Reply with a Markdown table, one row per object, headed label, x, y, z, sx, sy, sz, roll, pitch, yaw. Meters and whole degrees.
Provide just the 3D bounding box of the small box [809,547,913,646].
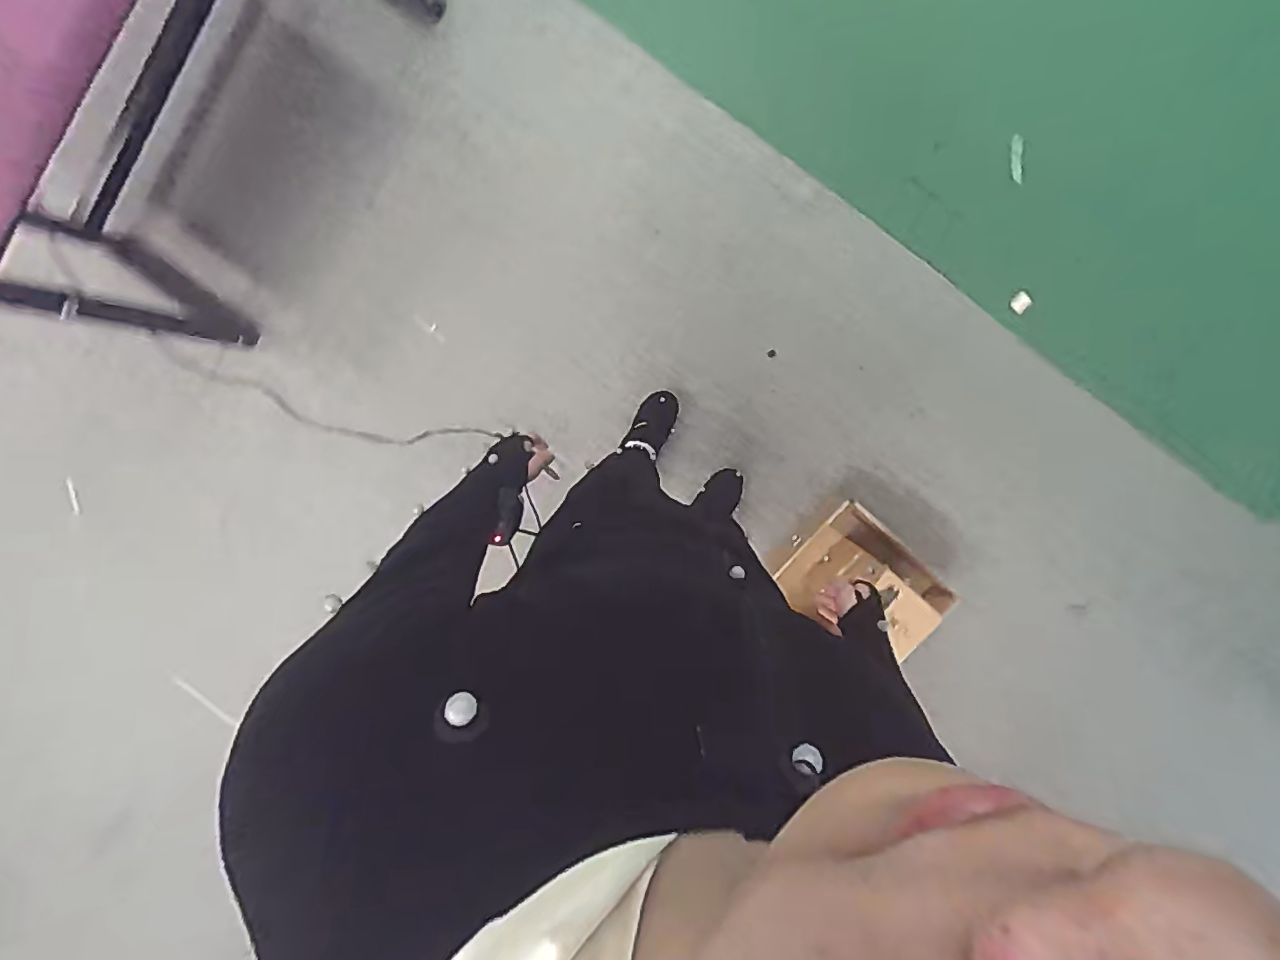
| label | x | y | z | sx | sy | sz | roll | pitch | yaw |
| --- | --- | --- | --- | --- | --- | --- | --- | --- | --- |
| small box | 0.589 | 0.305 | 1.463 | 0.179 | 0.176 | 0.168 | 43 | 98 | 0 |
